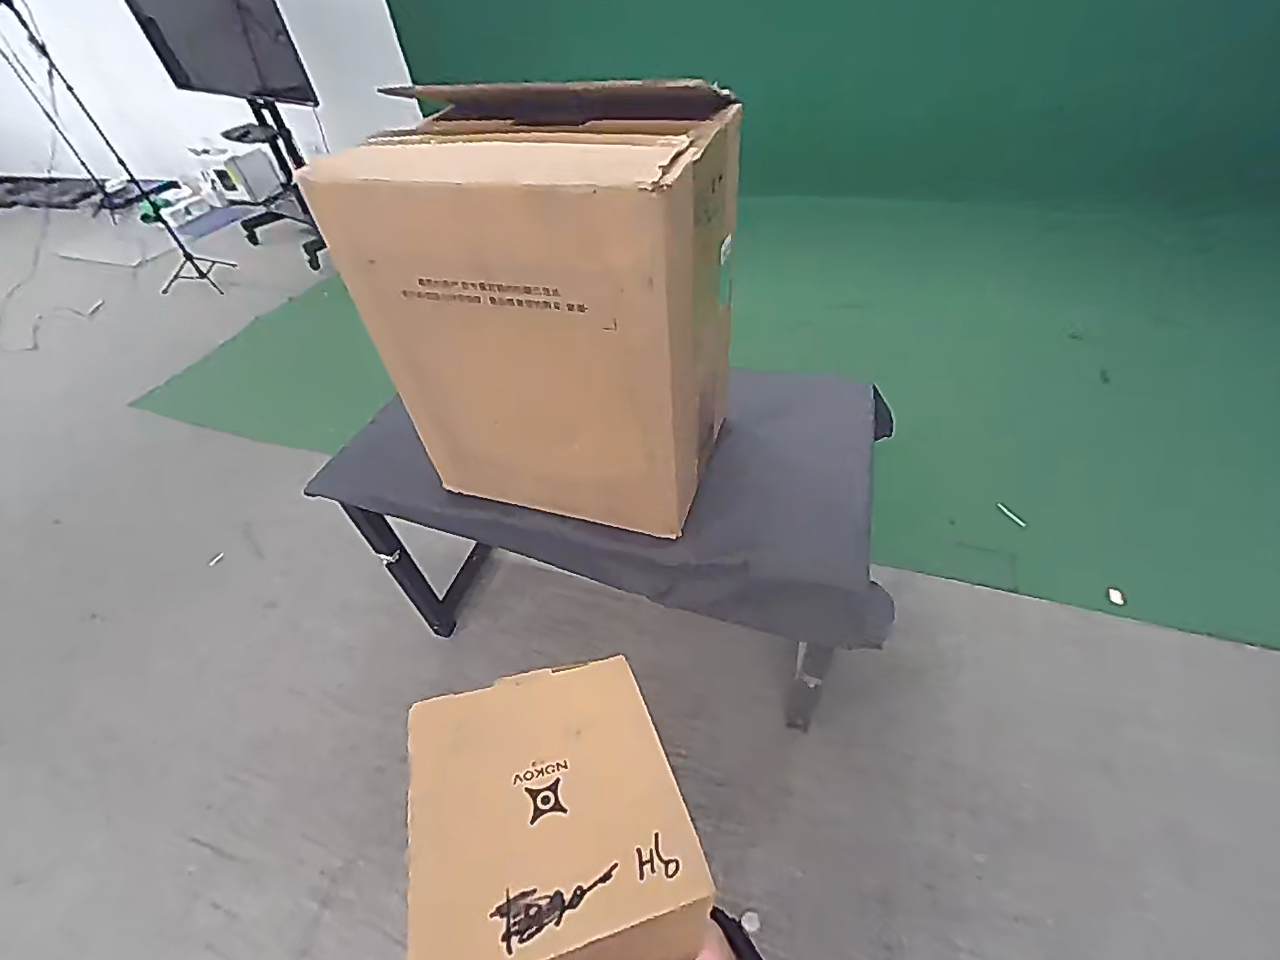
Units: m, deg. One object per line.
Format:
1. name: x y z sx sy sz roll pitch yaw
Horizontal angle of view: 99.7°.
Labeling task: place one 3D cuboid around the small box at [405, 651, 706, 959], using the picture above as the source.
1. small box: -0.068 0.263 0.396 0.168 0.176 0.179 -9 34 -17
